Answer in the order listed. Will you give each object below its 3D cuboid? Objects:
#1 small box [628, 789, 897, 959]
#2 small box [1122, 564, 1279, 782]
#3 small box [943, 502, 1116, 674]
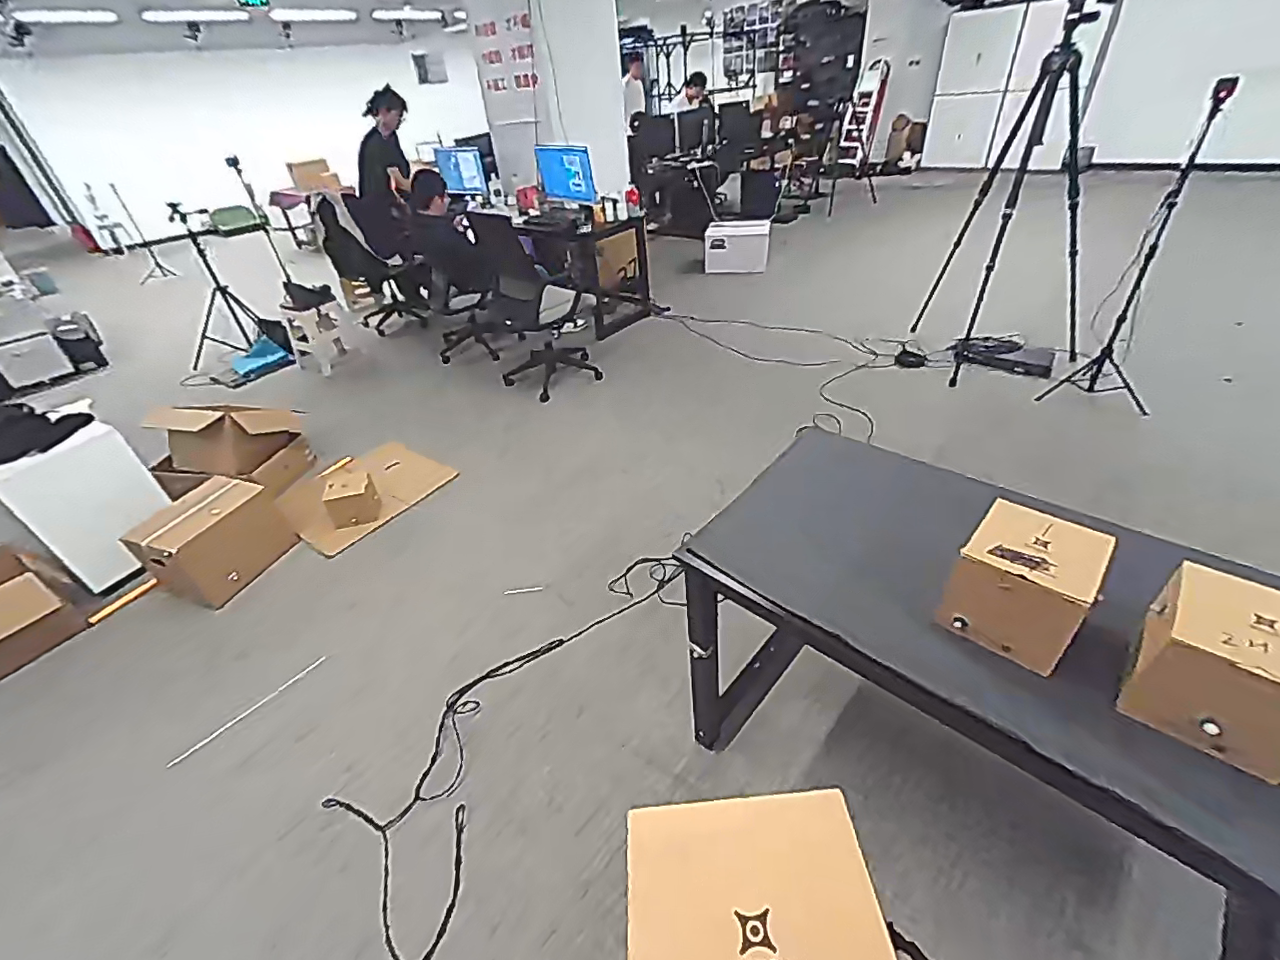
[{"bbox_3d":[0.082,0.355,0.381,0.168,0.176,0.179,-7,32,3],"label":"small box"},{"bbox_3d":[0.792,0.253,0.726,0.168,0.176,0.179,24,45,36],"label":"small box"},{"bbox_3d":[0.613,0.171,0.868,0.168,0.176,0.179,27,46,36],"label":"small box"}]
